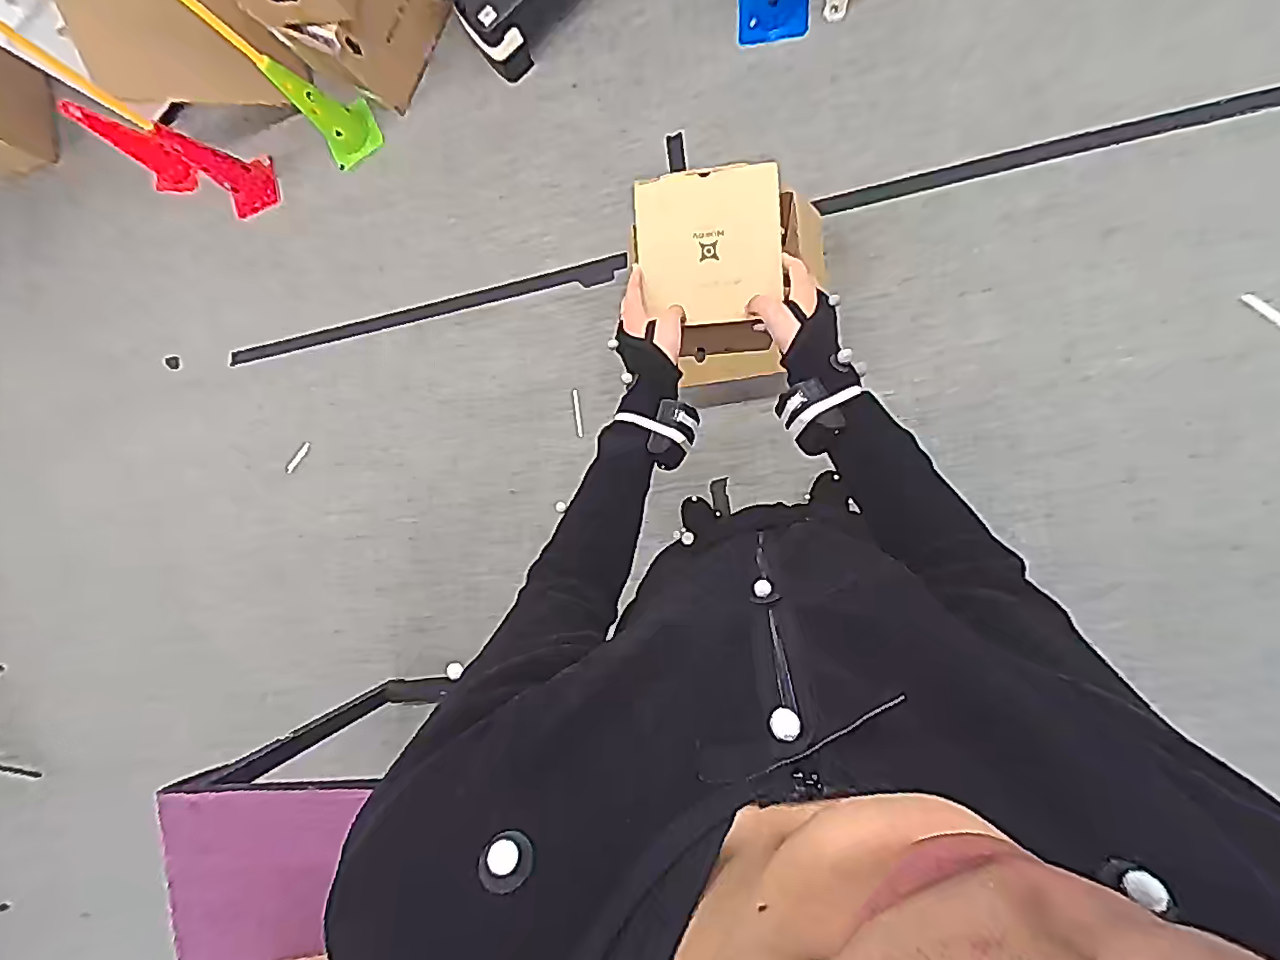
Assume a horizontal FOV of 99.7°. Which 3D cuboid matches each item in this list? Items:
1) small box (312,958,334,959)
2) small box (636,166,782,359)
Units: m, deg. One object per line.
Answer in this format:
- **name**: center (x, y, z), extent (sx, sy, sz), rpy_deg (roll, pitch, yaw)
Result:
- **small box**: center (-0.675, 1.046, 1.009), extent (0.179, 0.176, 0.168), rpy_deg (-18, 86, 12)
- **small box**: center (0.087, -0.268, 0.704), extent (0.168, 0.176, 0.179), rpy_deg (-3, 90, 8)
